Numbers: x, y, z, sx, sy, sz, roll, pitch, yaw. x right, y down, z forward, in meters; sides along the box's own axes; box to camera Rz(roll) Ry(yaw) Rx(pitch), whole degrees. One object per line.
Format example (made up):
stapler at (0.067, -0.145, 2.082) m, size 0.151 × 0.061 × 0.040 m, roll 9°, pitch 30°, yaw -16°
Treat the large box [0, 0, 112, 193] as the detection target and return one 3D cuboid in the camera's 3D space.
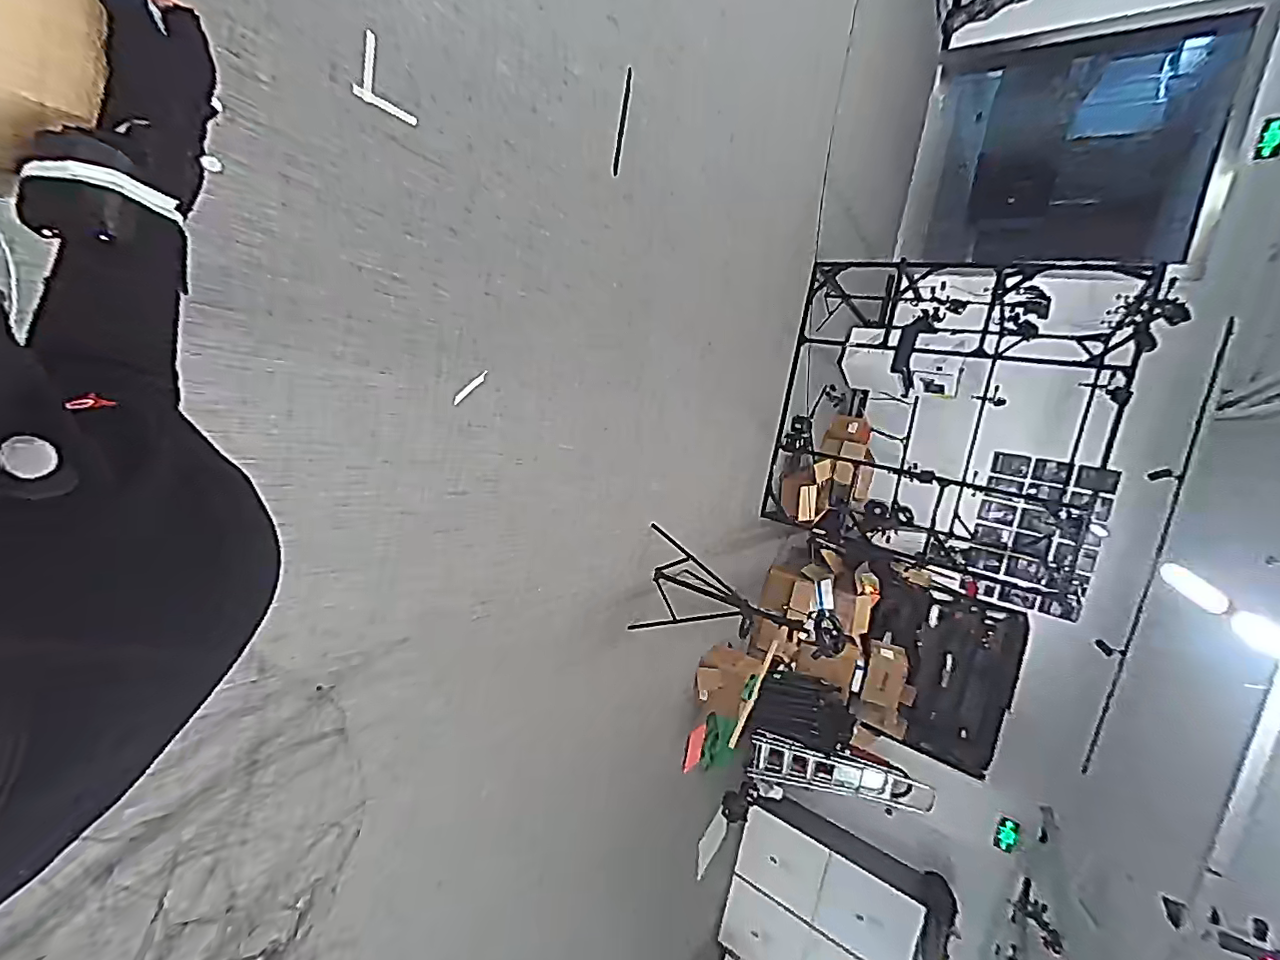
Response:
large box at (-0.620, -0.401, 0.302) m, size 0.408 × 0.320 × 0.320 m, roll -4°, pitch 110°, yaw -61°
